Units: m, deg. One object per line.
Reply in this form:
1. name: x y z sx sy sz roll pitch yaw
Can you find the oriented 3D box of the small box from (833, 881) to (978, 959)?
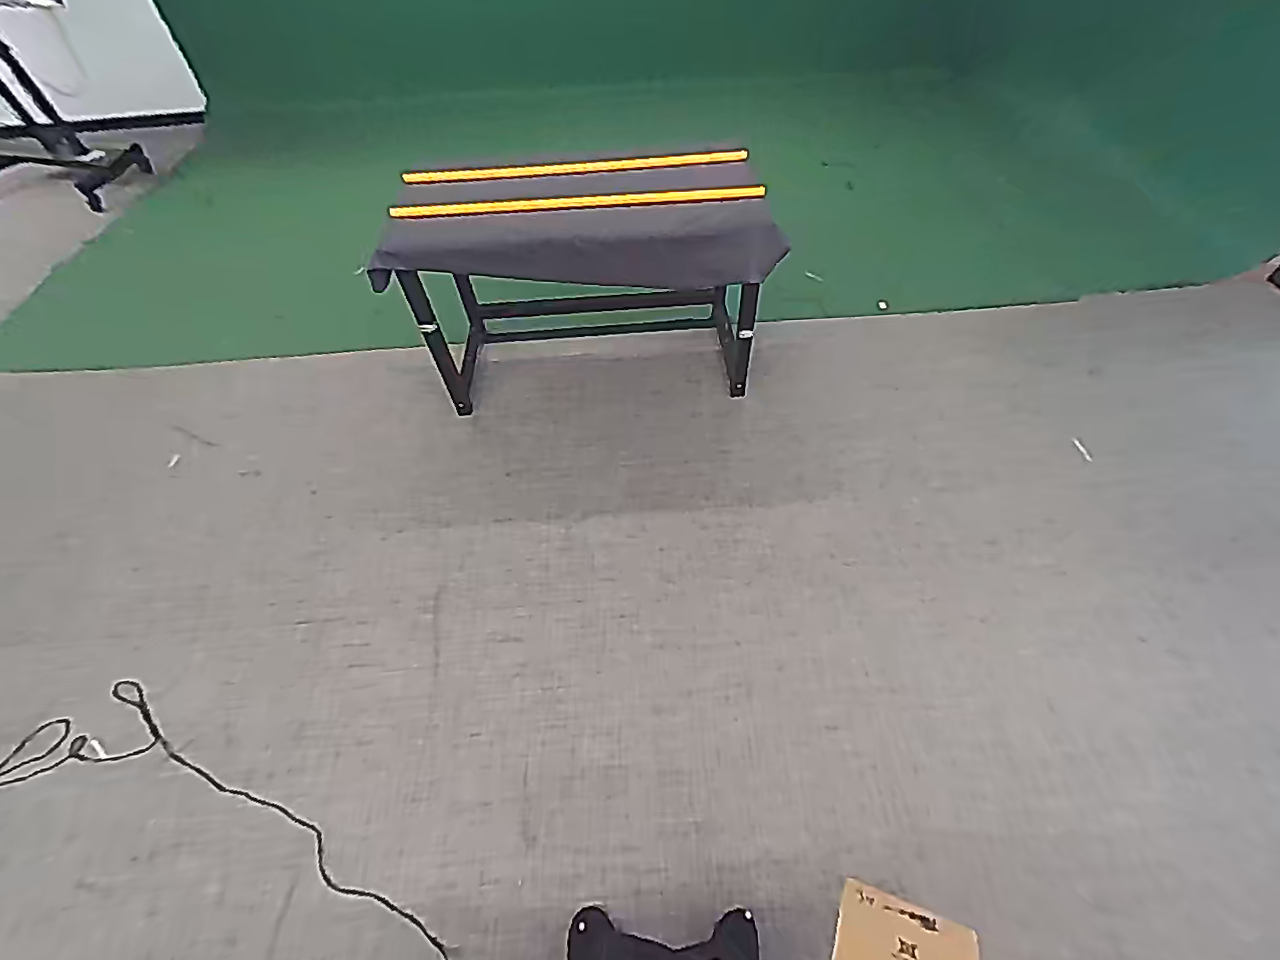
1. small box: 0.329 0.672 0.679 0.168 0.179 0.176 4 96 24
